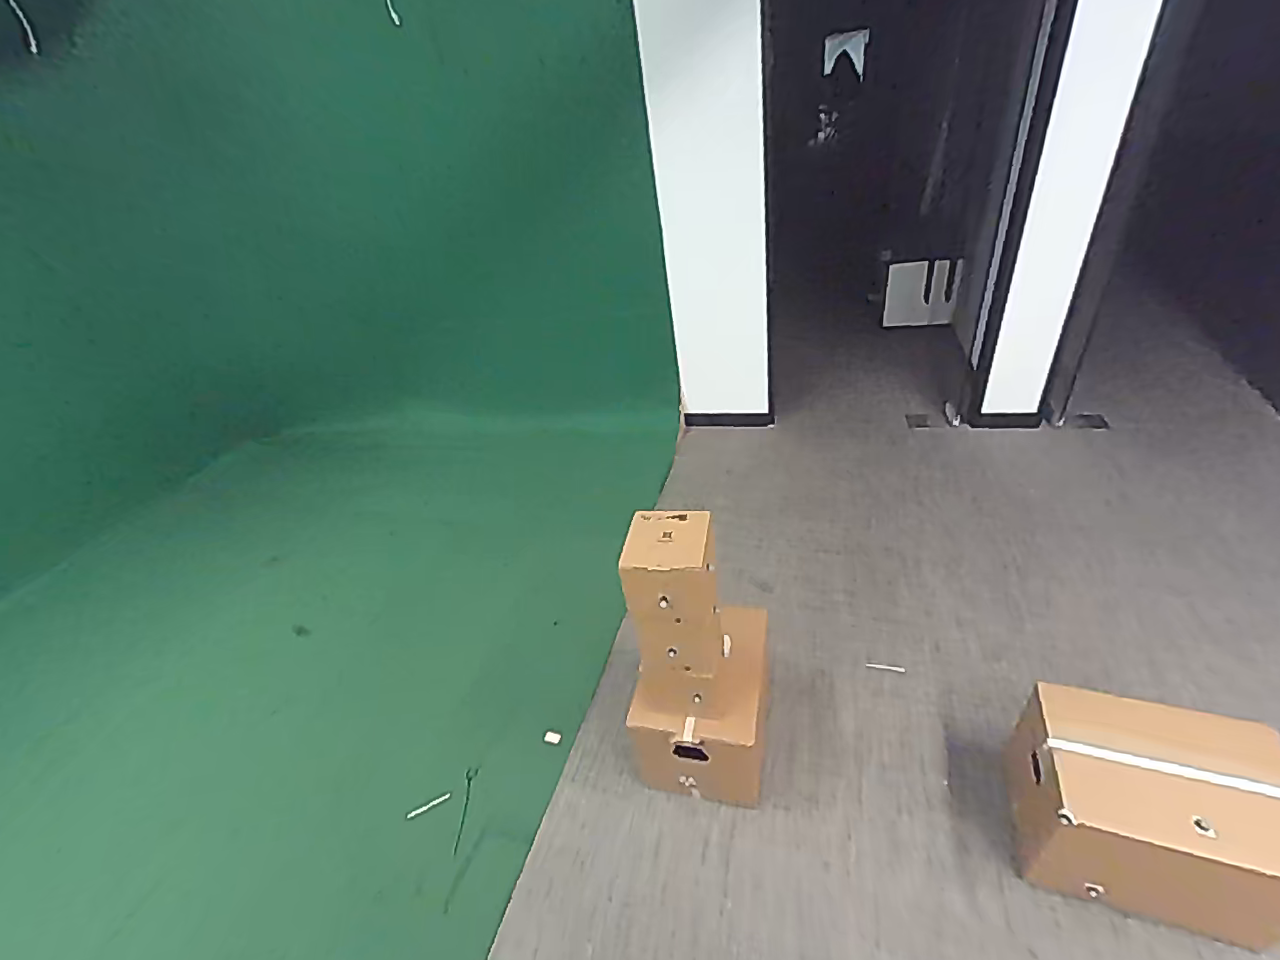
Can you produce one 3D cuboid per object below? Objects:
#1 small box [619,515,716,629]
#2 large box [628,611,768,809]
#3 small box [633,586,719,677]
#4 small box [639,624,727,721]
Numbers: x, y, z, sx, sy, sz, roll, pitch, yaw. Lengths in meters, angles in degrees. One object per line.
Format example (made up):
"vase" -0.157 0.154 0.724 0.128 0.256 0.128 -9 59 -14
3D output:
"small box" 0.066 0.191 1.134 0.168 0.176 0.179 0 36 15
"large box" 0.185 0.618 1.502 0.320 0.320 0.408 2 35 17
"small box" 0.090 0.324 1.228 0.168 0.176 0.179 -1 34 13
"small box" 0.113 0.461 1.315 0.179 0.176 0.168 0 35 17
